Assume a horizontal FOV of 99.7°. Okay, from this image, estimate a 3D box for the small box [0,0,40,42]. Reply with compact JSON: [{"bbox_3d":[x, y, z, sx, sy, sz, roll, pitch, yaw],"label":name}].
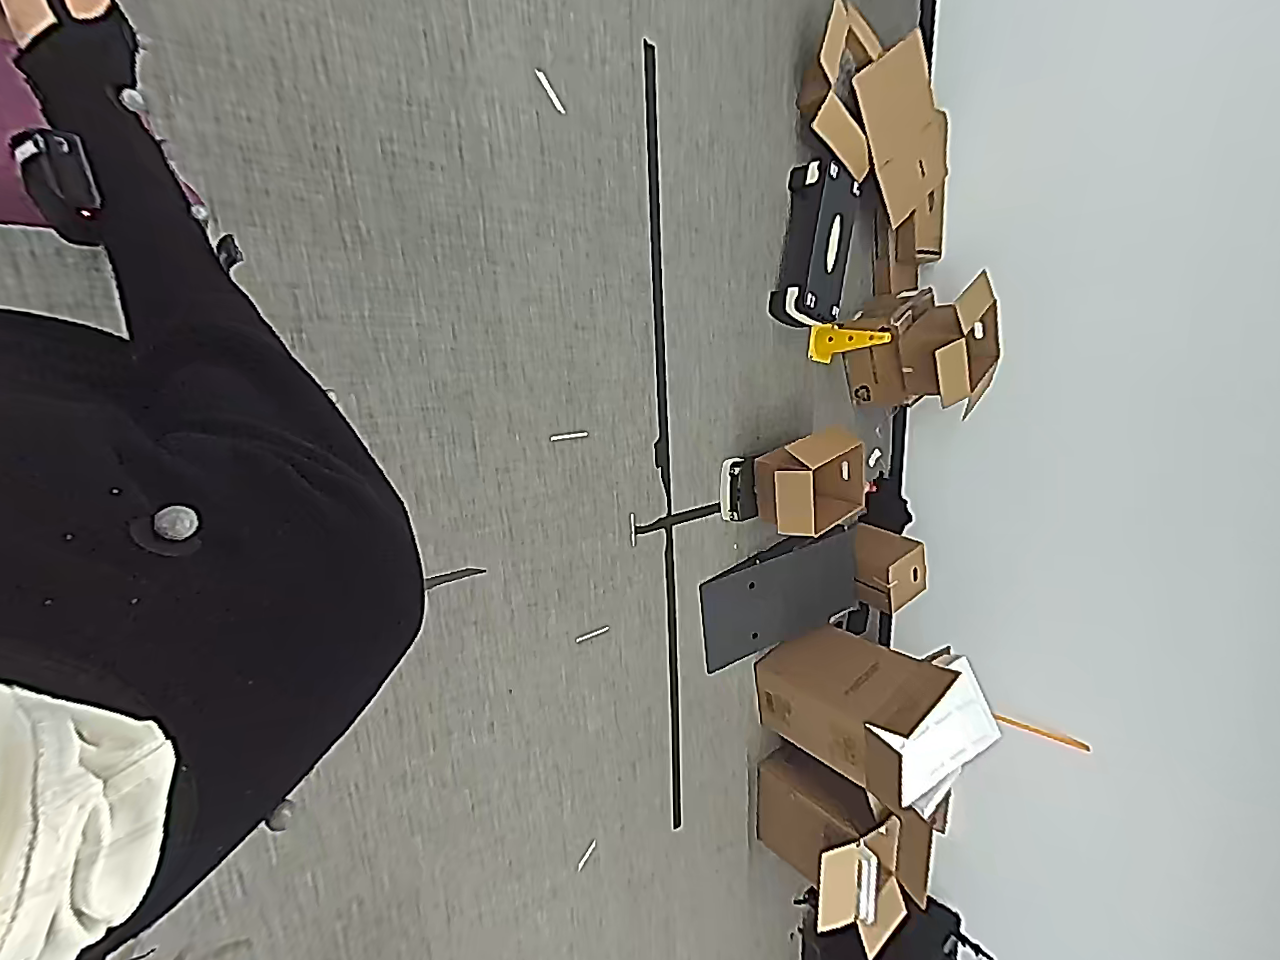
[{"bbox_3d":[-0.595,-0.457,0.393,0.179,0.176,0.168,-18,117,-40],"label":"small box"}]
